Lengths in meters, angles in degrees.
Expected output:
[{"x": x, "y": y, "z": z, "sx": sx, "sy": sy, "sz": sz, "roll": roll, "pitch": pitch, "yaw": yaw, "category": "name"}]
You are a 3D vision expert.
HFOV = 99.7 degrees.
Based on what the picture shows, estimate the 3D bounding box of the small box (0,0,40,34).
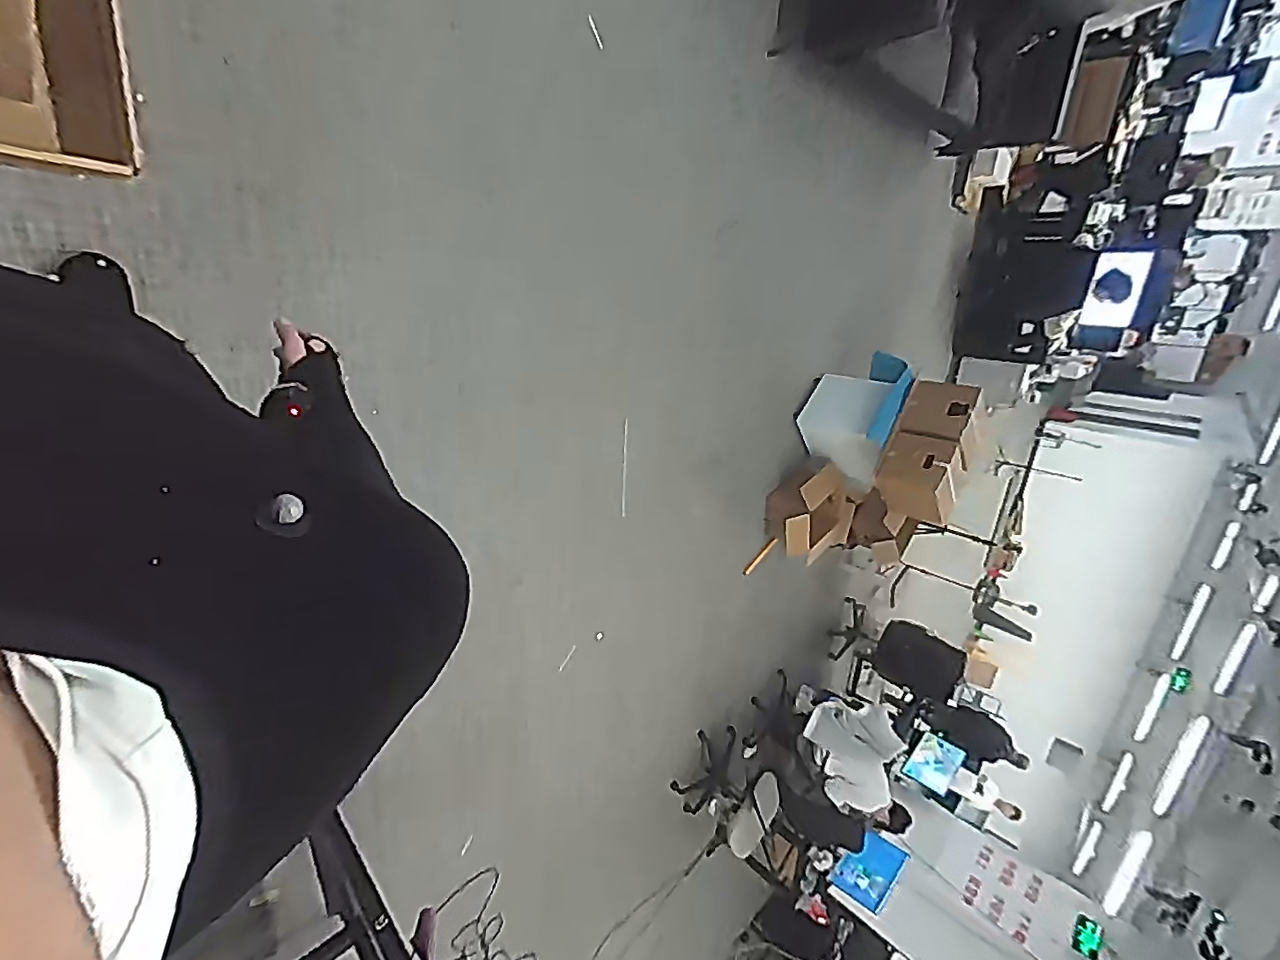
[{"x": -0.608, "y": -0.476, "z": 0.409, "sx": 0.179, "sy": 0.176, "sz": 0.168, "roll": -17, "pitch": 118, "yaw": -44, "category": "small box"}]

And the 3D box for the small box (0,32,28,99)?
[{"x": -0.847, "y": -0.561, "z": 0.614, "sx": 0.179, "sy": 0.176, "sz": 0.168, "roll": -15, "pitch": 115, "yaw": -45, "category": "small box"}]
